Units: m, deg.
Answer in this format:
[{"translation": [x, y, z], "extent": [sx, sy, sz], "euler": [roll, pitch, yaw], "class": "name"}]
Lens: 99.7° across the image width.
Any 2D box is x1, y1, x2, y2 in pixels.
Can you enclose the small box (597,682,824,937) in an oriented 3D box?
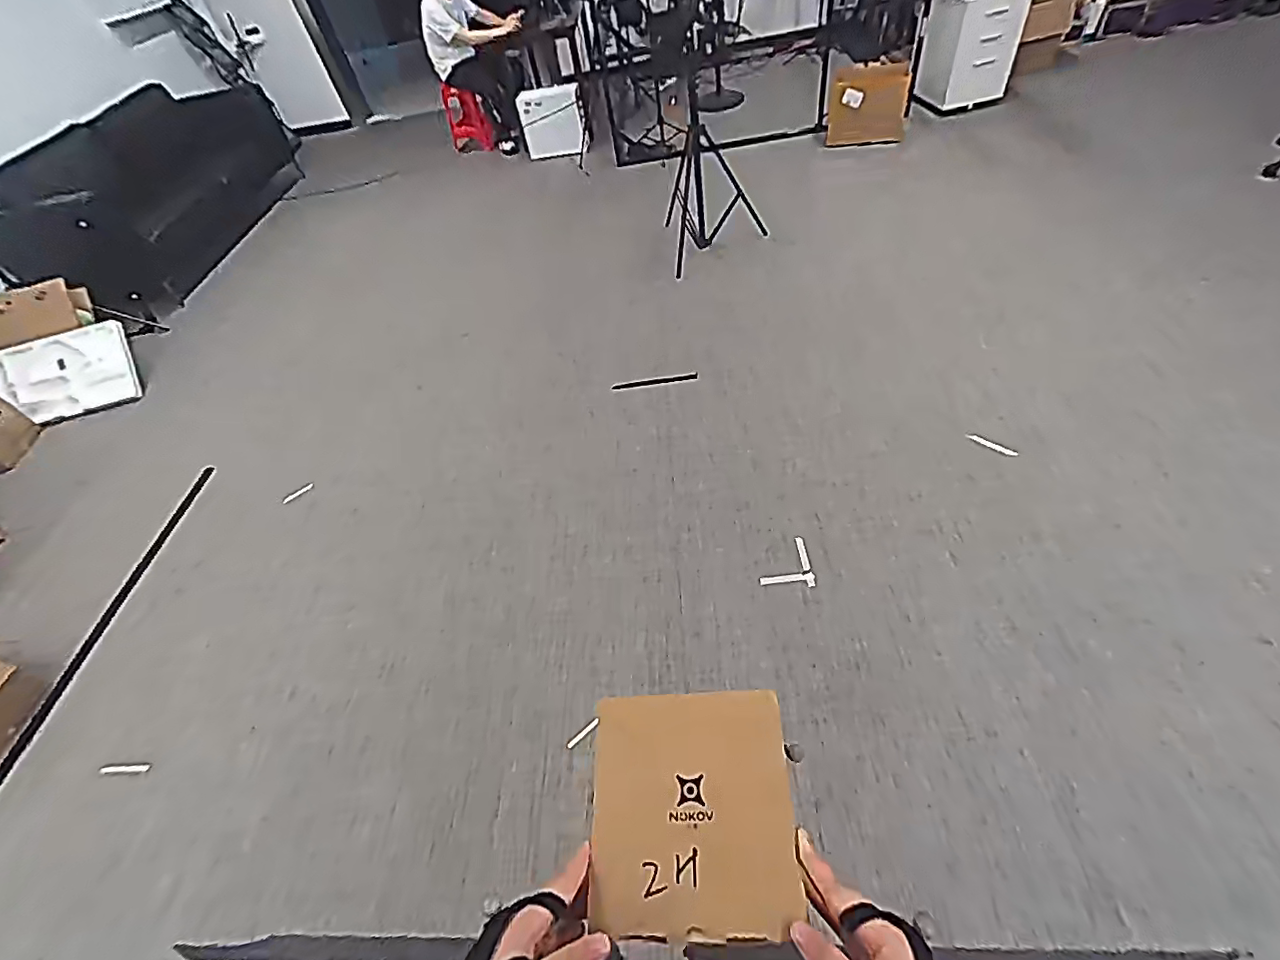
[{"translation": [0.065, 0.305, 0.500], "extent": [0.168, 0.176, 0.179], "euler": [-8, 51, 10], "class": "small box"}]
